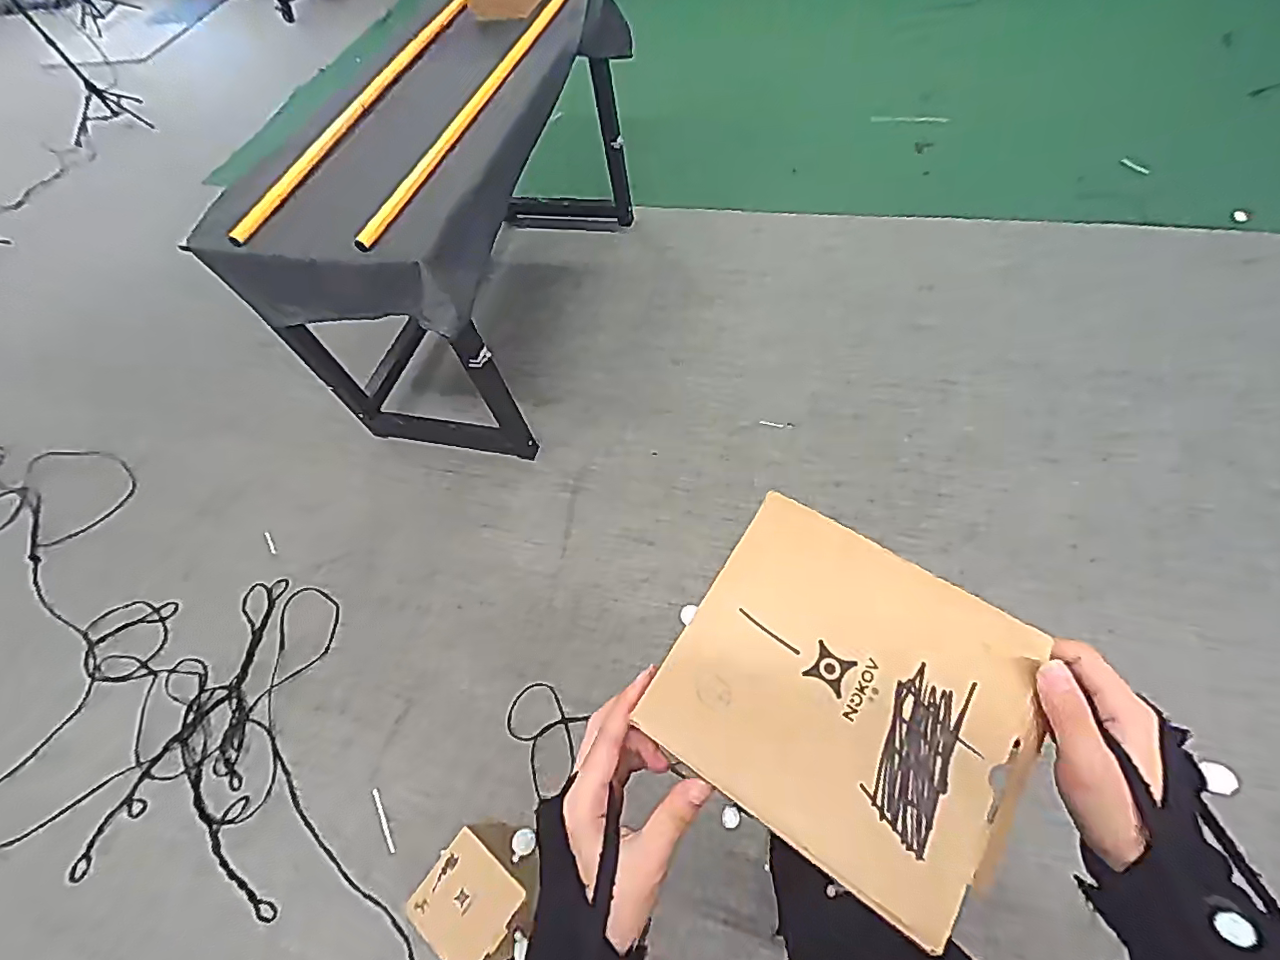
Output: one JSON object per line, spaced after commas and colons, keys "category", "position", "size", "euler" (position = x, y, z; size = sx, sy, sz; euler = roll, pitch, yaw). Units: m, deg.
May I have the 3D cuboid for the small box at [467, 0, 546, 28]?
{"category": "small box", "position": [-0.384, -1.402, 1.511], "size": [0.179, 0.176, 0.168], "euler": [10, 62, 15]}

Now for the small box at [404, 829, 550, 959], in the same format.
{"category": "small box", "position": [-0.300, 0.798, 1.034], "size": [0.179, 0.176, 0.168], "euler": [30, 69, 24]}
